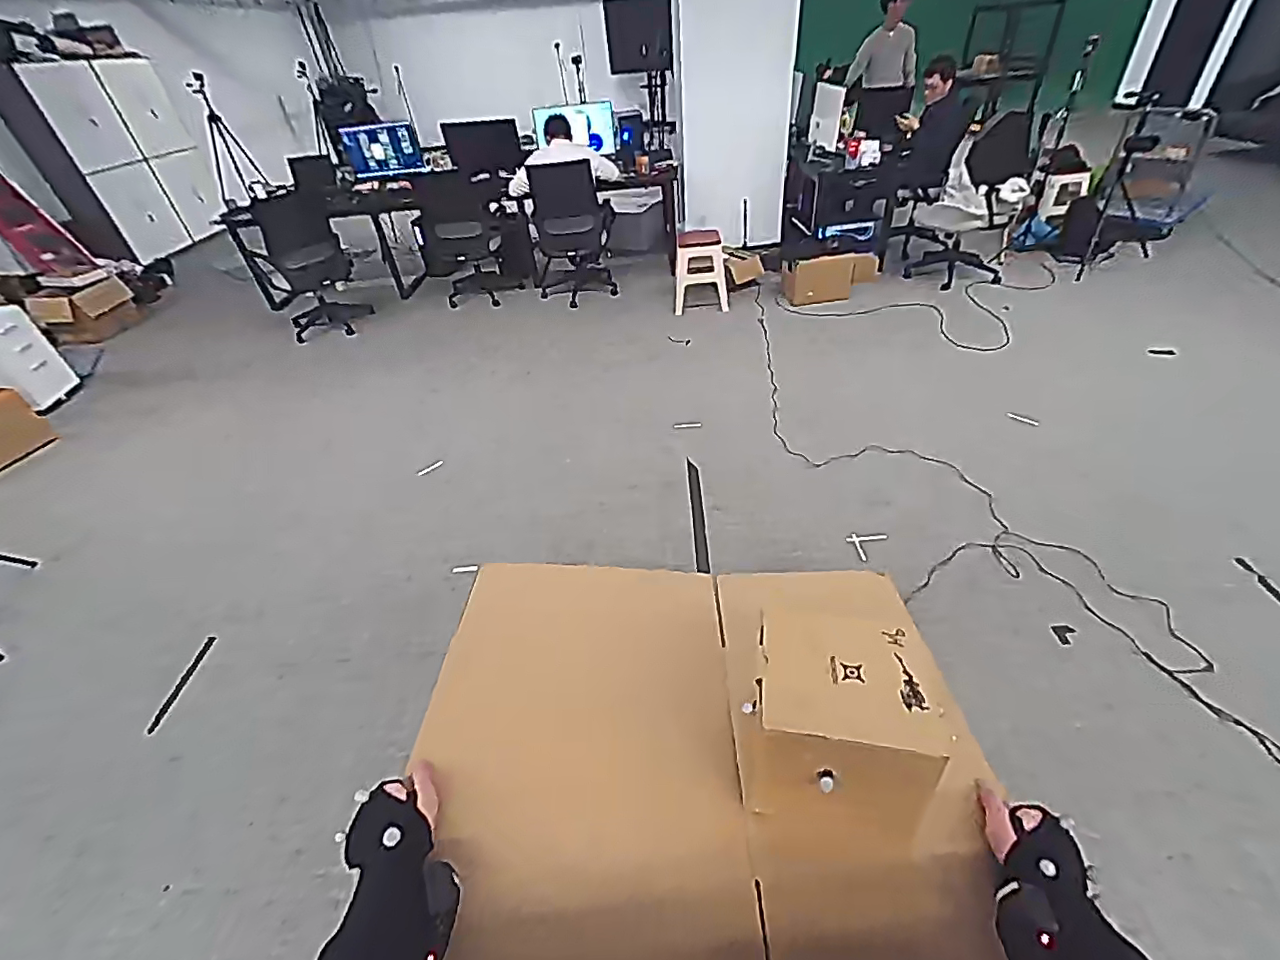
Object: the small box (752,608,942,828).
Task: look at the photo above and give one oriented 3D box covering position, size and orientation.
[{"bbox_3d":[0.224,0.274,0.634,0.179,0.176,0.168,3,35,12],"label":"small box"}]
